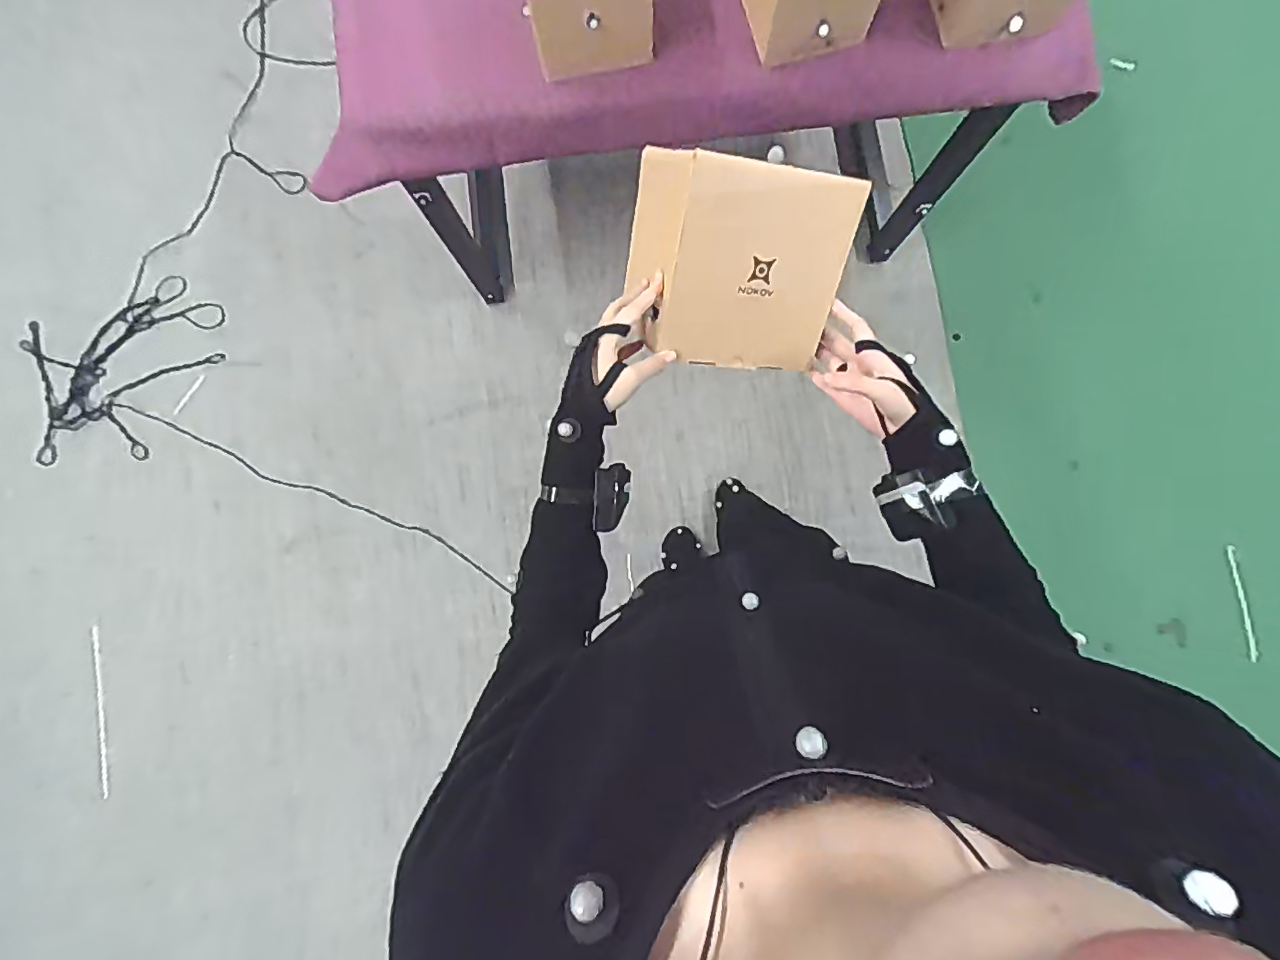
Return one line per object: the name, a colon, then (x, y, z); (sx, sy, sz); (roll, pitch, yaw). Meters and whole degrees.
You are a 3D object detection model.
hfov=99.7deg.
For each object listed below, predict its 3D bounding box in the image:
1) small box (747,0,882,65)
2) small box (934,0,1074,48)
small box: (0.257, -0.767, 0.790); (0.168, 0.176, 0.179); (-13, 84, 1)
small box: (0.554, -0.780, 0.782); (0.179, 0.176, 0.168); (-11, 84, 1)
